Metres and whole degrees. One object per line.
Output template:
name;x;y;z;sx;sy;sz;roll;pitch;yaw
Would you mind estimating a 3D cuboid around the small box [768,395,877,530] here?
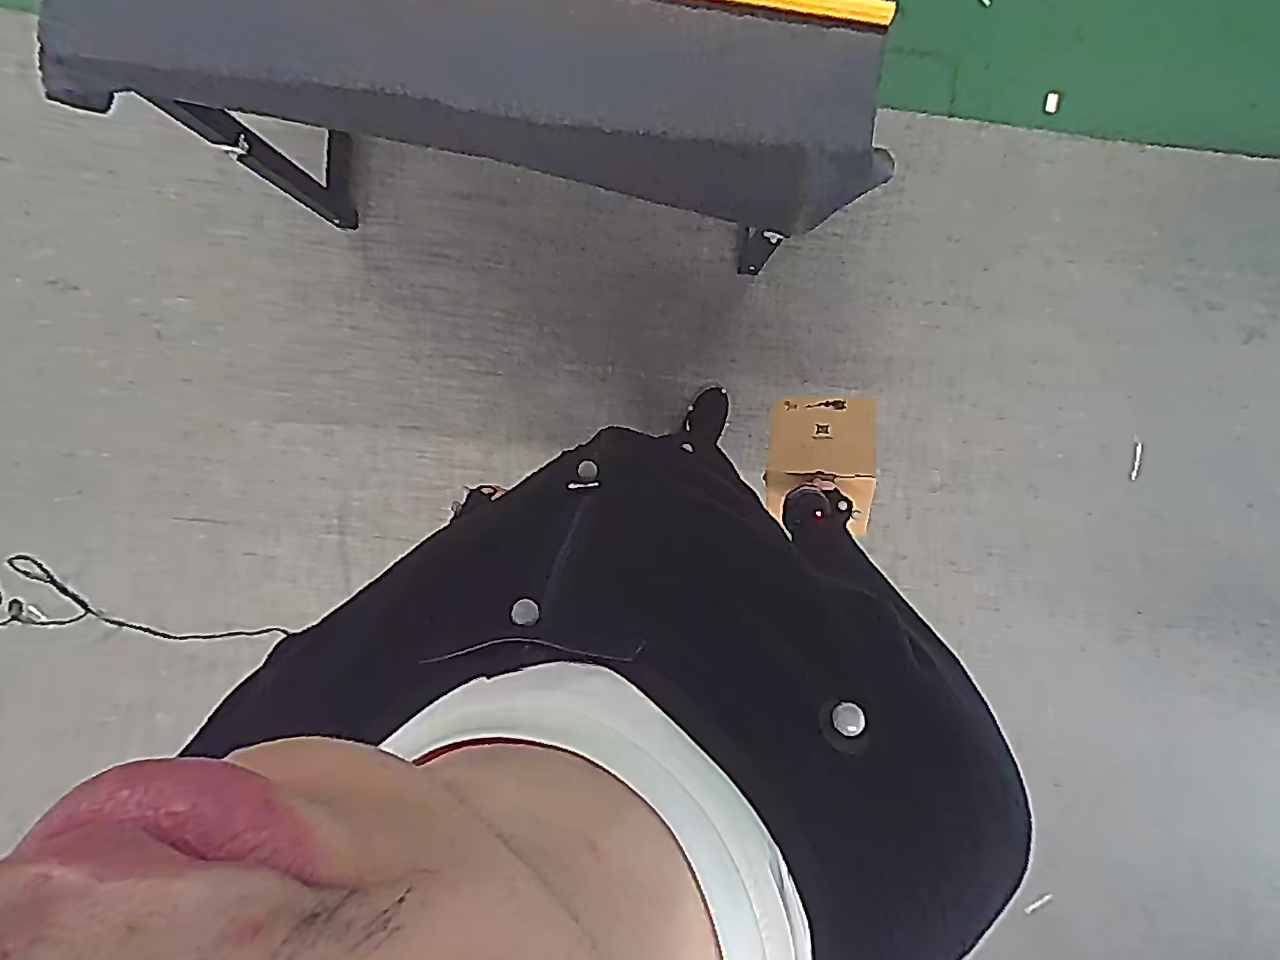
small box;0.319;-0.025;0.950;0.168;0.176;0.179;0;53;17
